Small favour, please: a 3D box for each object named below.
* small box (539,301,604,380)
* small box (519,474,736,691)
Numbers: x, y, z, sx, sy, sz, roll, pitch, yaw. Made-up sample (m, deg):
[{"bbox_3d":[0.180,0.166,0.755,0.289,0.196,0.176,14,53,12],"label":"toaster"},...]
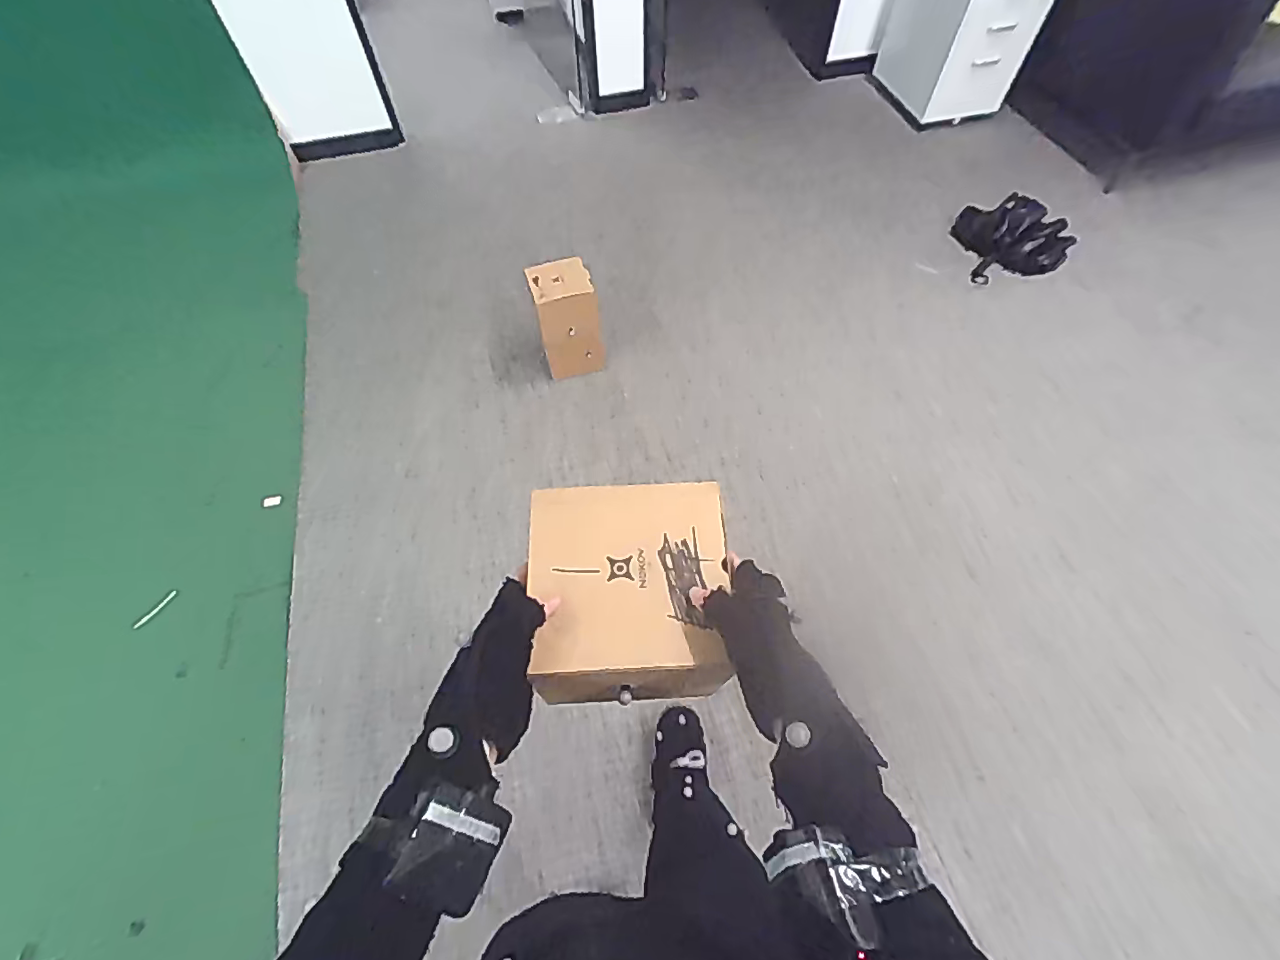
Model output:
[{"bbox_3d":[-0.220,-0.460,1.793,0.179,0.176,0.168,-16,59,-6],"label":"small box"},{"bbox_3d":[-0.012,0.108,0.537,0.179,0.176,0.168,1,59,-2],"label":"small box"}]
